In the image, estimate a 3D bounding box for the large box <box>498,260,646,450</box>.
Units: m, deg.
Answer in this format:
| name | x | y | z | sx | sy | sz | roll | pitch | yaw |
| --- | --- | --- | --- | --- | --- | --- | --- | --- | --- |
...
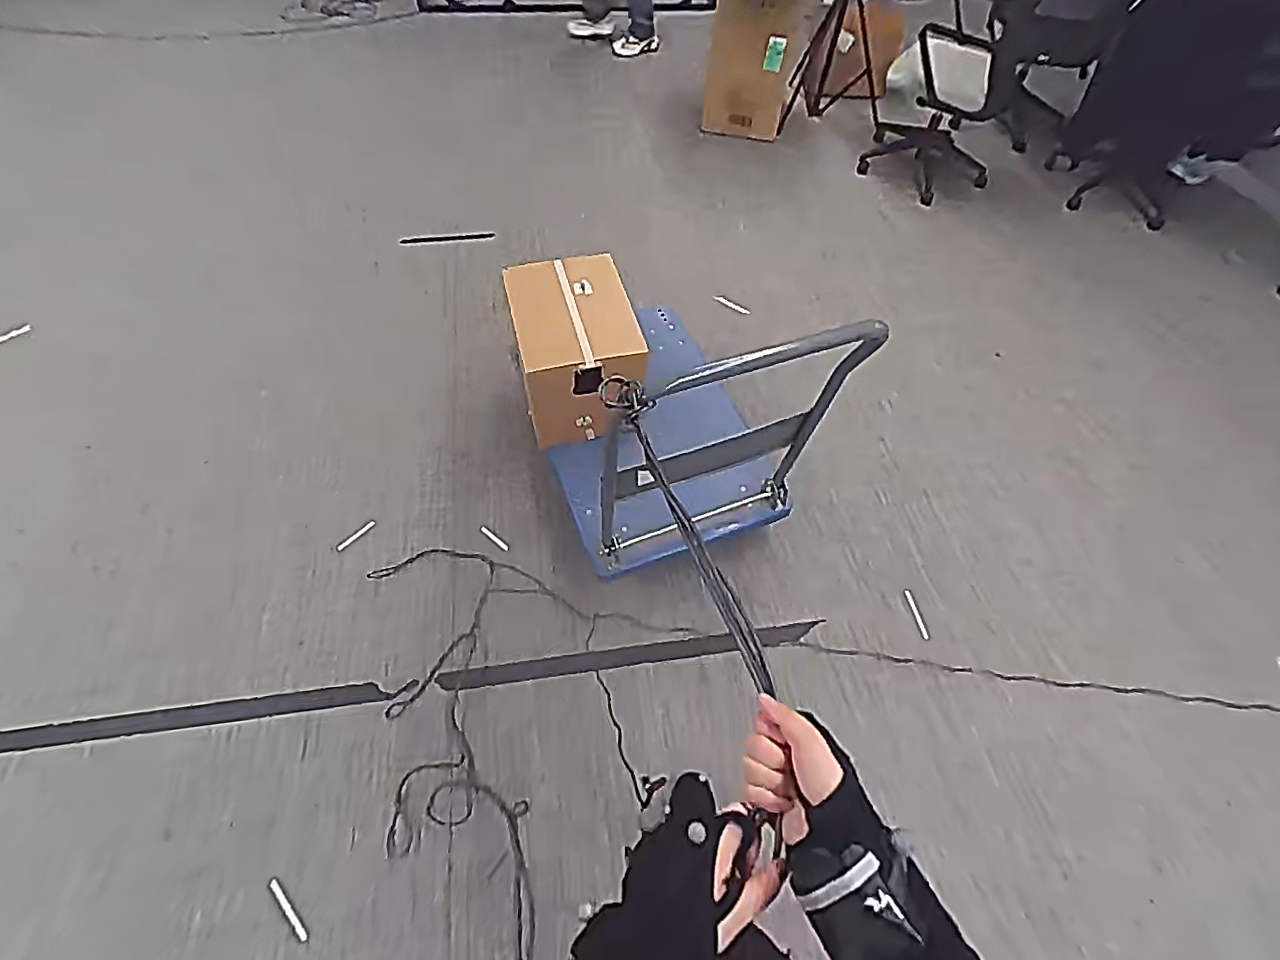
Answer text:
| name | x | y | z | sx | sy | sz | roll | pitch | yaw |
| --- | --- | --- | --- | --- | --- | --- | --- | --- | --- |
| large box | -0.190 | -0.352 | 1.531 | 0.320 | 0.320 | 0.408 | -12 | 58 | -11 |
